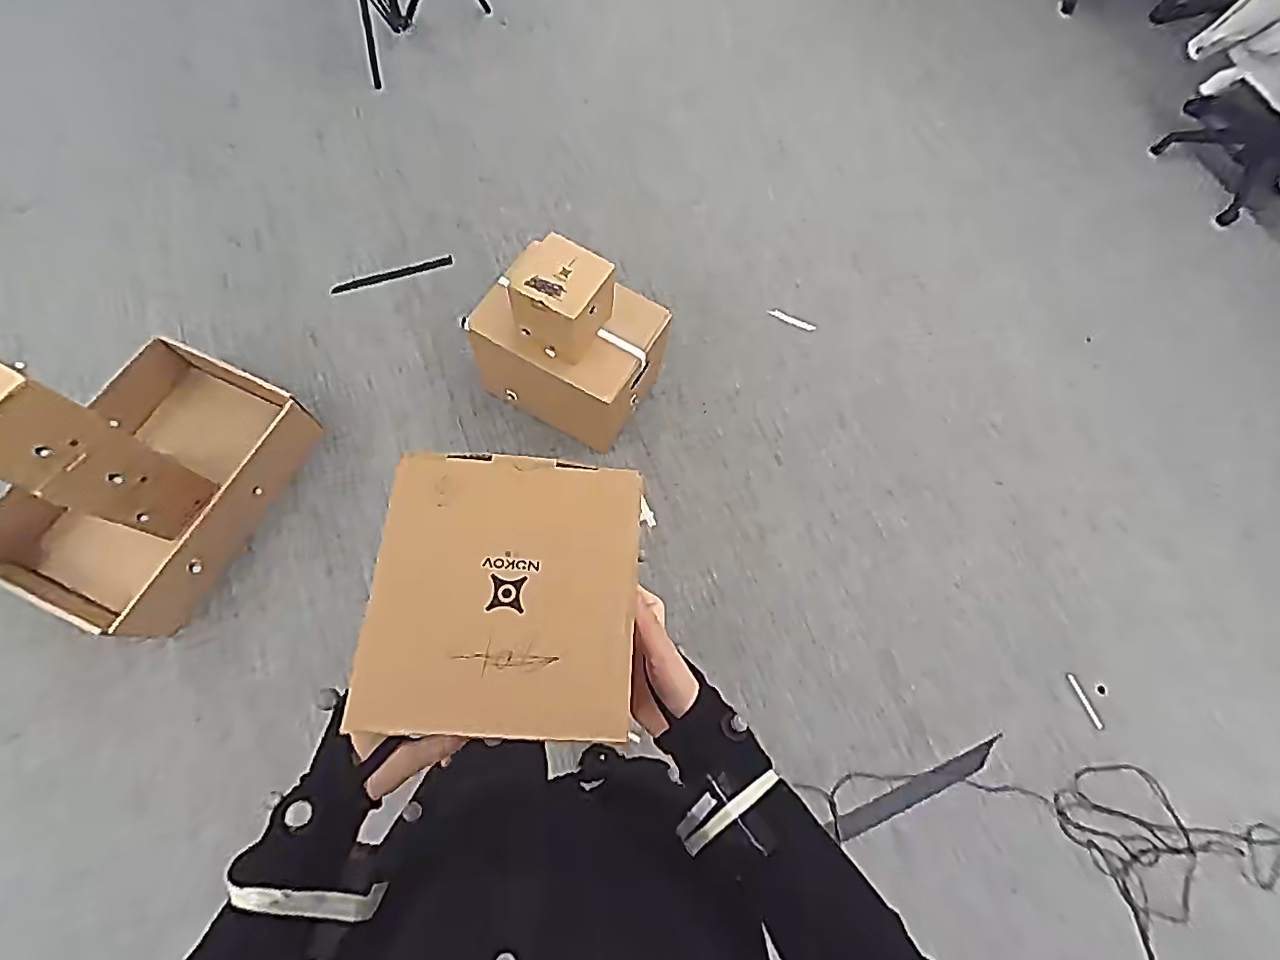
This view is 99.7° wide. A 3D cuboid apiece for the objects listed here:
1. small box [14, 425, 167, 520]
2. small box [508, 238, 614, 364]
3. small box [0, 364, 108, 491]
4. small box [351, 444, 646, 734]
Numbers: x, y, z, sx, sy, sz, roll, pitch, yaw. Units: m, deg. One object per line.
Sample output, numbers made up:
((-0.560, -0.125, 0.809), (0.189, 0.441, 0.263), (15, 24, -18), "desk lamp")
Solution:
((-1.137, -0.036, 1.098), (0.179, 0.176, 0.168), (28, 69, 5), "small box")
((-0.173, -0.396, 1.223), (0.168, 0.176, 0.179), (29, 69, 5), "small box")
((-1.126, -0.103, 0.949), (0.179, 0.176, 0.168), (27, 68, 5), "small box")
((-0.091, 0.091, 0.420), (0.168, 0.176, 0.179), (5, 70, -5), "small box")
